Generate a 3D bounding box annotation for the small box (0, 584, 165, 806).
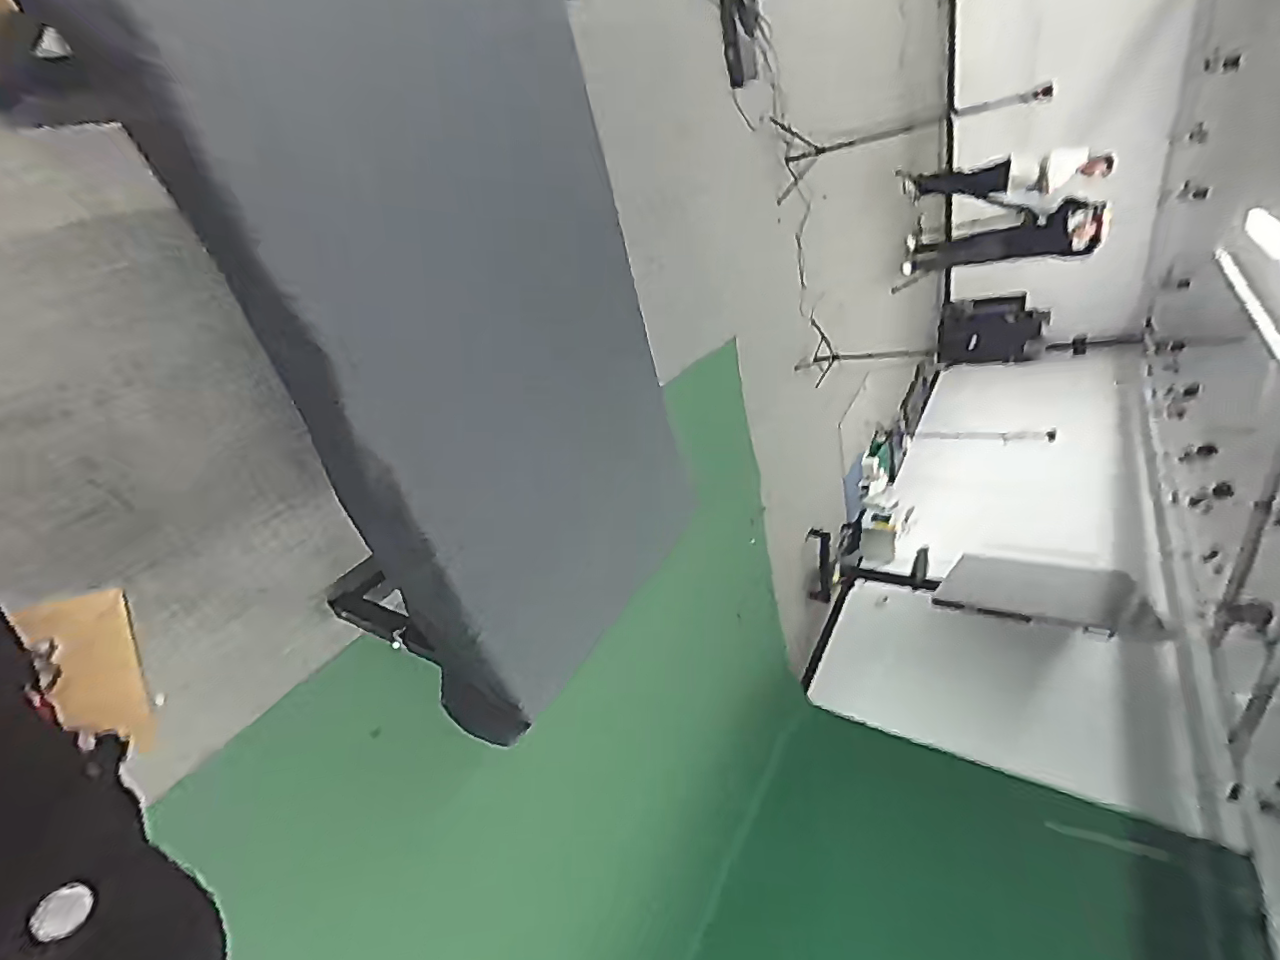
[{"bbox_3d":[-0.663,0.240,0.610,0.168,0.179,0.176,-14,68,-44],"label":"small box"}]
